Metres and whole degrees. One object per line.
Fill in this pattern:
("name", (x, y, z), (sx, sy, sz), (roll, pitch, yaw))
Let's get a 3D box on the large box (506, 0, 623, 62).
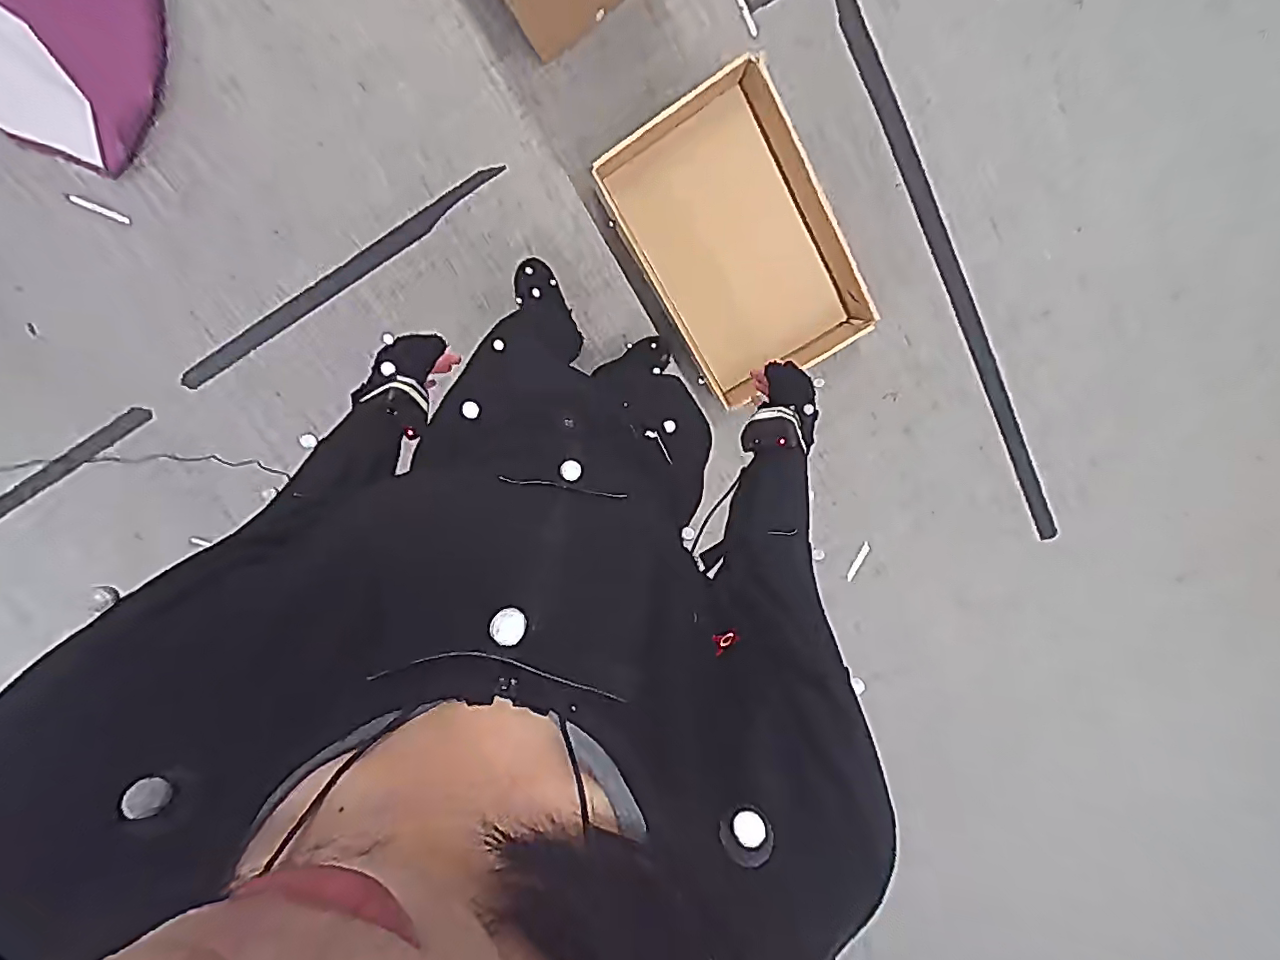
("large box", (-0.196, -1.122, 0.999), (0.320, 0.320, 0.408), (-33, 107, 11))
